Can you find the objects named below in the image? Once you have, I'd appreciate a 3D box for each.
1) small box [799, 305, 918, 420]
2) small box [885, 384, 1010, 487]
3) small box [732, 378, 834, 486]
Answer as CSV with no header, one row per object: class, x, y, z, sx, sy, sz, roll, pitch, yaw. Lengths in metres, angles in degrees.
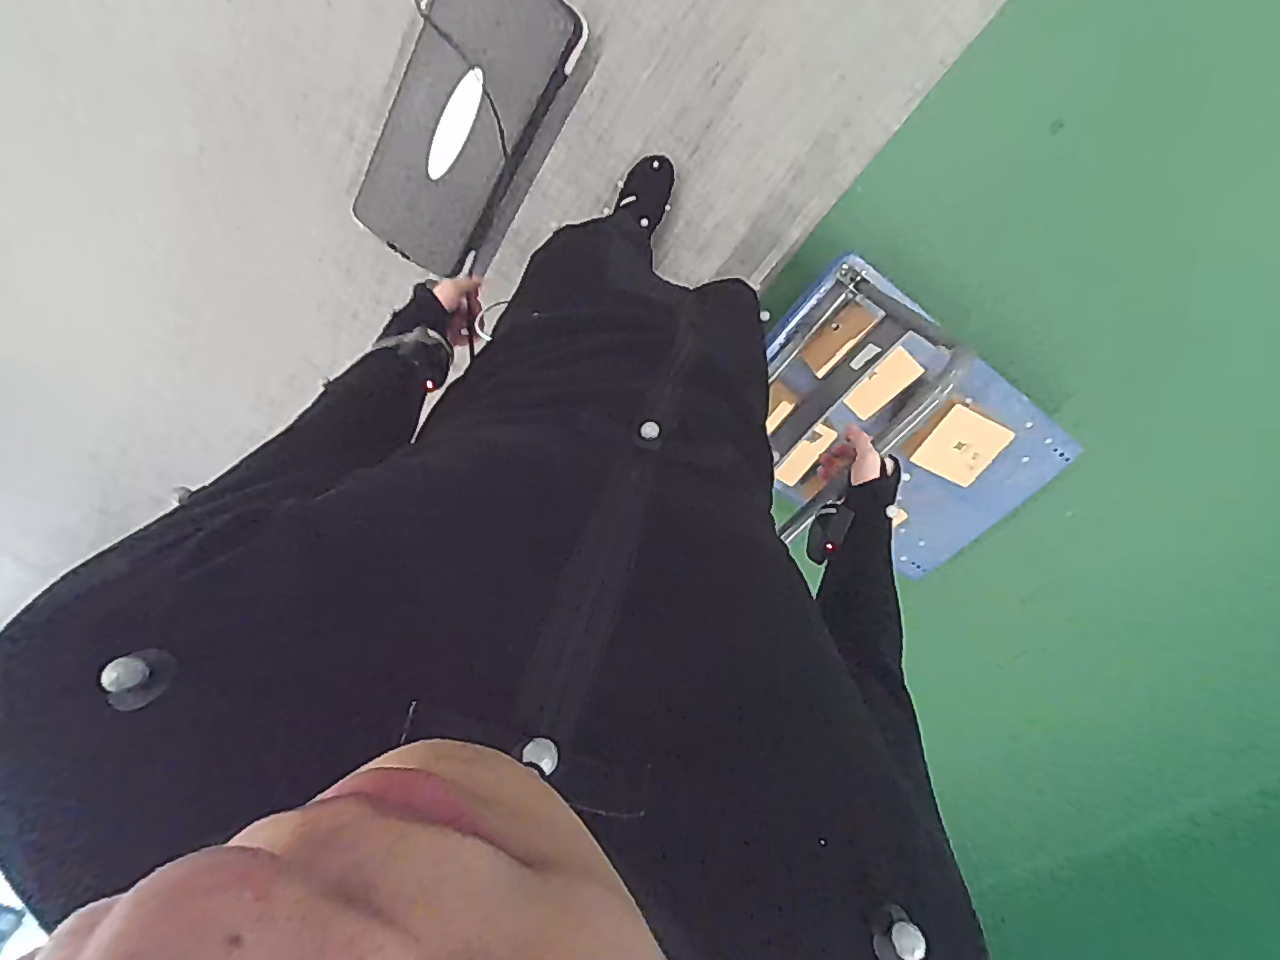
small box,0.498,-0.277,1.252,0.179,0.176,0.168,38,116,-18
small box,0.744,-0.117,1.333,0.179,0.176,0.168,24,119,-11
small box,0.344,-0.125,1.347,0.168,0.176,0.179,29,119,-13
